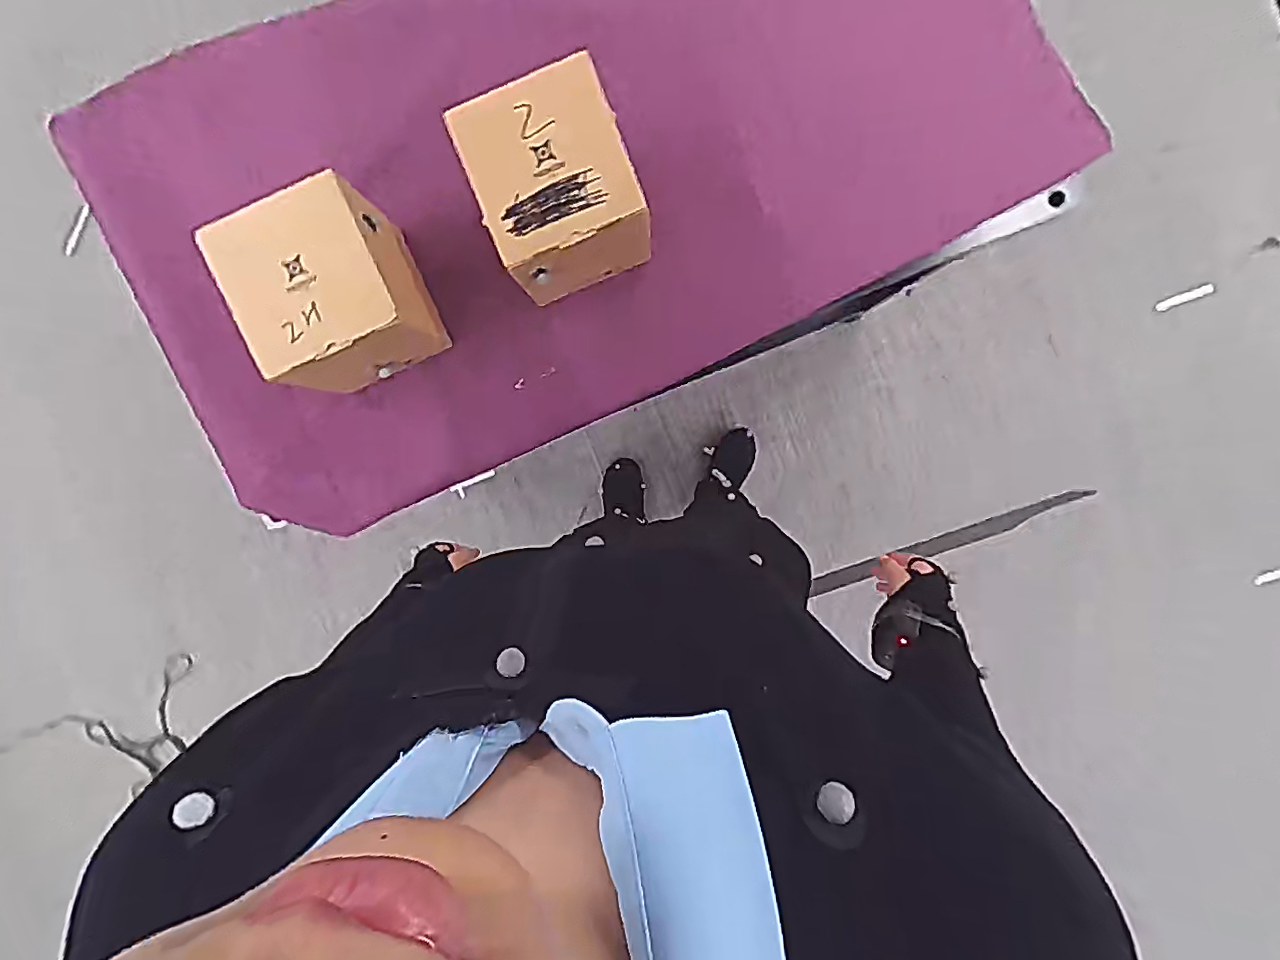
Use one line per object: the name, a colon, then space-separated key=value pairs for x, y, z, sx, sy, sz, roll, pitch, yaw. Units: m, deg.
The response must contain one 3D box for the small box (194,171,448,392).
small box: x=-0.364 y=-0.221 z=0.653 sx=0.168 sy=0.176 sz=0.179 roll=-24 pitch=94 yaw=2
